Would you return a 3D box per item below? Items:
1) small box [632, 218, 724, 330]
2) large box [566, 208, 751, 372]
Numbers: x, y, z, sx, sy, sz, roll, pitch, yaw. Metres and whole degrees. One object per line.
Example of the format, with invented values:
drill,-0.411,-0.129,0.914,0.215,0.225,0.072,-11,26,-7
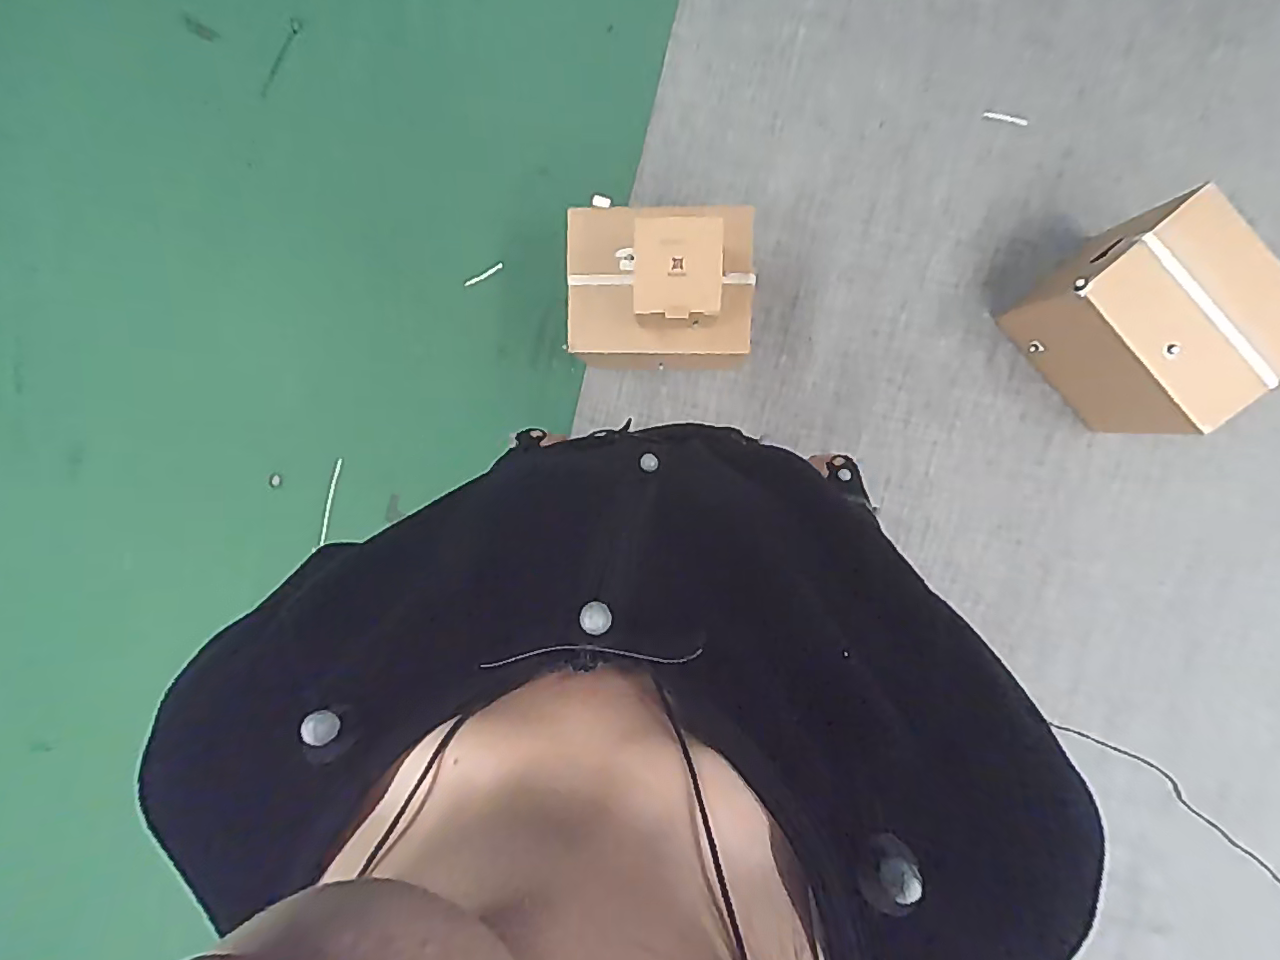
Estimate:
small box,0.075,-0.397,1.067,0.168,0.176,0.179,2,96,4
large box,0.053,-0.433,1.313,0.408,0.320,0.320,1,94,6
